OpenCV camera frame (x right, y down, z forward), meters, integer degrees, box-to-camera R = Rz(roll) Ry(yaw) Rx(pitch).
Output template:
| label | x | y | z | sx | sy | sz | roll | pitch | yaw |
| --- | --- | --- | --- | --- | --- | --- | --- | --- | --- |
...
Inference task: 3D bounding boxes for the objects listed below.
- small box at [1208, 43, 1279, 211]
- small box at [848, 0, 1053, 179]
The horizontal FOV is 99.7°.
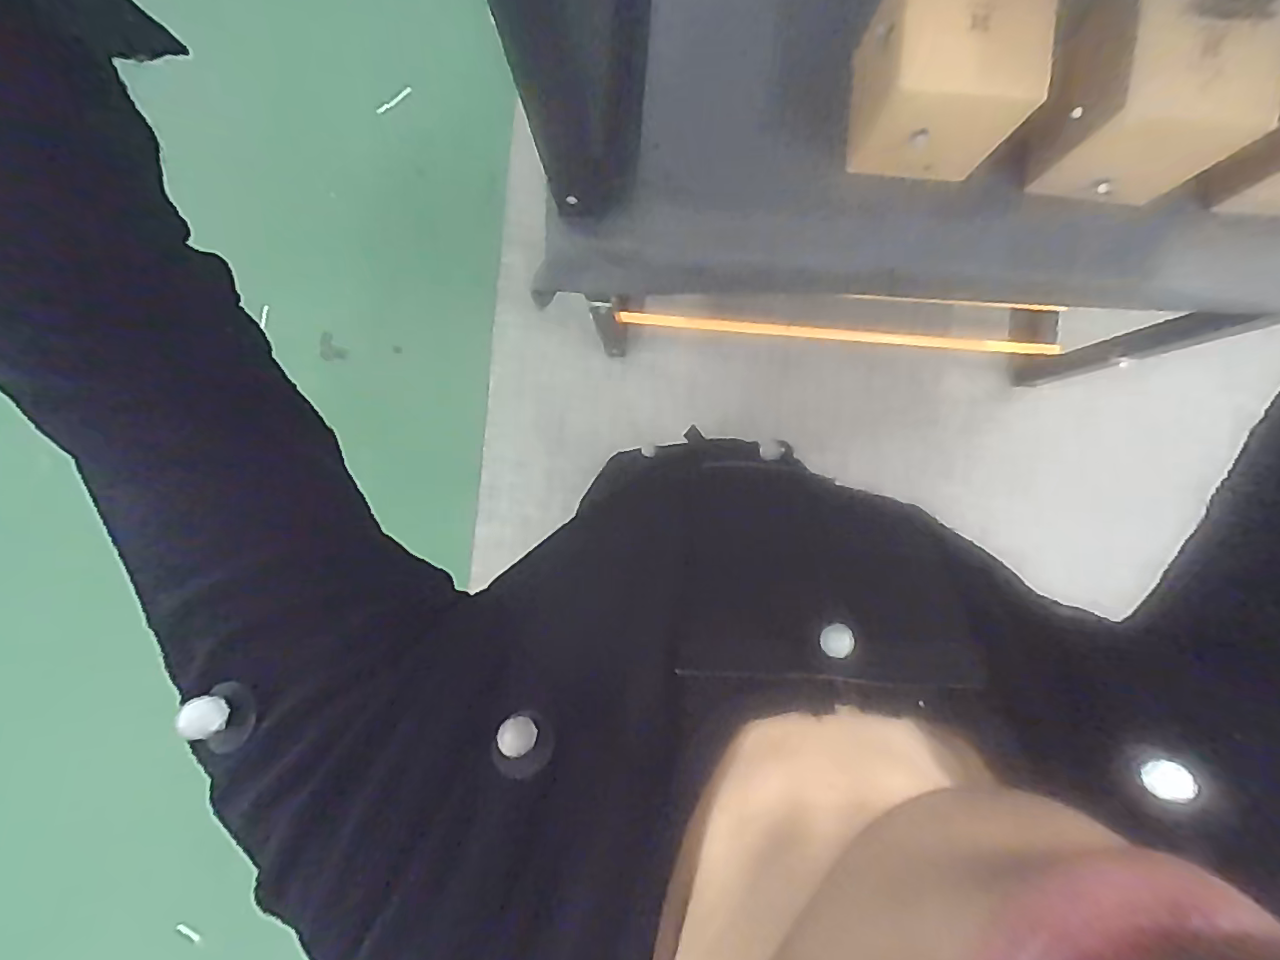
| label | x | y | z | sx | sy | sz | roll | pitch | yaw |
| --- | --- | --- | --- | --- | --- | --- | --- | --- | --- |
| small box | 0.866 | -0.453 | 0.667 | 0.168 | 0.176 | 0.179 | 4 | 88 | 1 |
| small box | 0.376 | -0.511 | 0.683 | 0.168 | 0.176 | 0.179 | 5 | 89 | 1 |
